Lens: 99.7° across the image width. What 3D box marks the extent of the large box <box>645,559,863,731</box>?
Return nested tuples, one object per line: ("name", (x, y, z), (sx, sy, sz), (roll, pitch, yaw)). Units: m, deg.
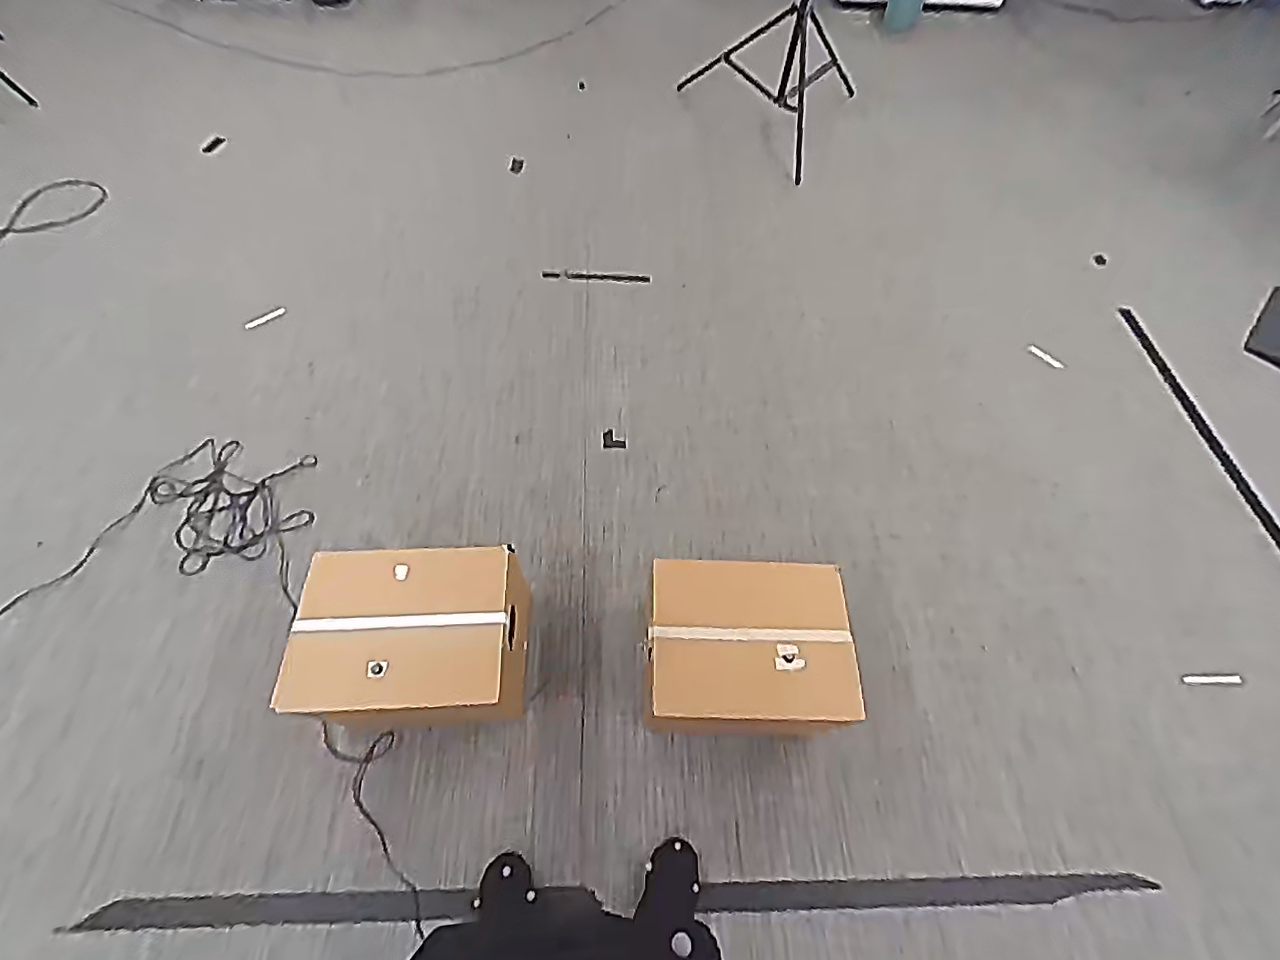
("large box", (0.222, 0.383, 1.223), (0.408, 0.320, 0.320), (3, 61, -2))
